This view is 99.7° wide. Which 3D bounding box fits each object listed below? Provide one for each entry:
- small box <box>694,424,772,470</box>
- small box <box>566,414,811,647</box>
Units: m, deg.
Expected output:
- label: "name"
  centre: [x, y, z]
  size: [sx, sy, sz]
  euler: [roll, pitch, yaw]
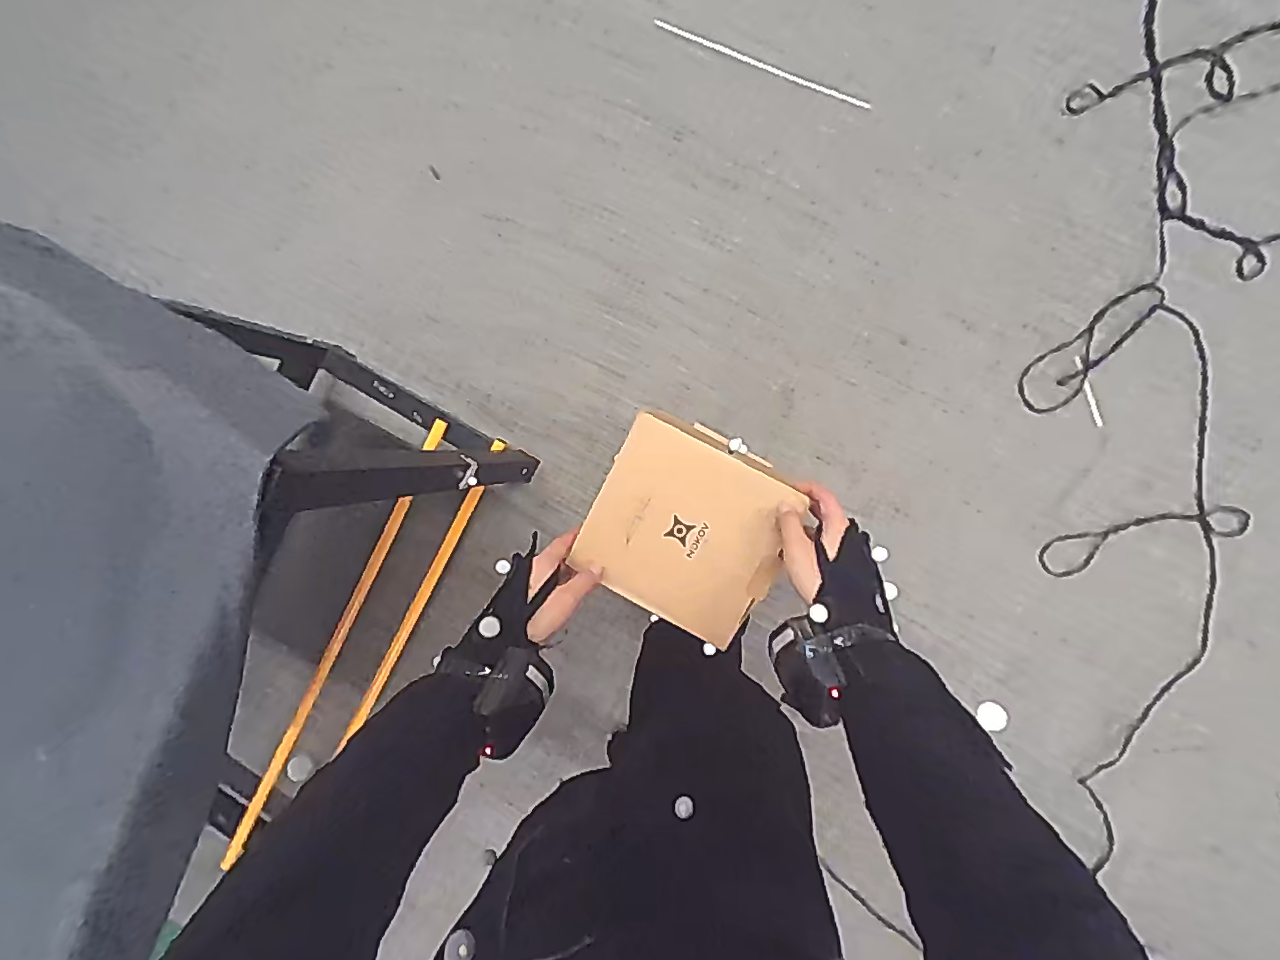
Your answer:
- label: "small box"
  centre: [0.142, 0.007, 1.079]
  size: [0.168, 0.176, 0.179]
  euler: [30, 96, 7]
- label: "small box"
  centre: [0.052, 0.039, 0.576]
  size: [0.179, 0.176, 0.168]
  euler: [28, 99, 5]
